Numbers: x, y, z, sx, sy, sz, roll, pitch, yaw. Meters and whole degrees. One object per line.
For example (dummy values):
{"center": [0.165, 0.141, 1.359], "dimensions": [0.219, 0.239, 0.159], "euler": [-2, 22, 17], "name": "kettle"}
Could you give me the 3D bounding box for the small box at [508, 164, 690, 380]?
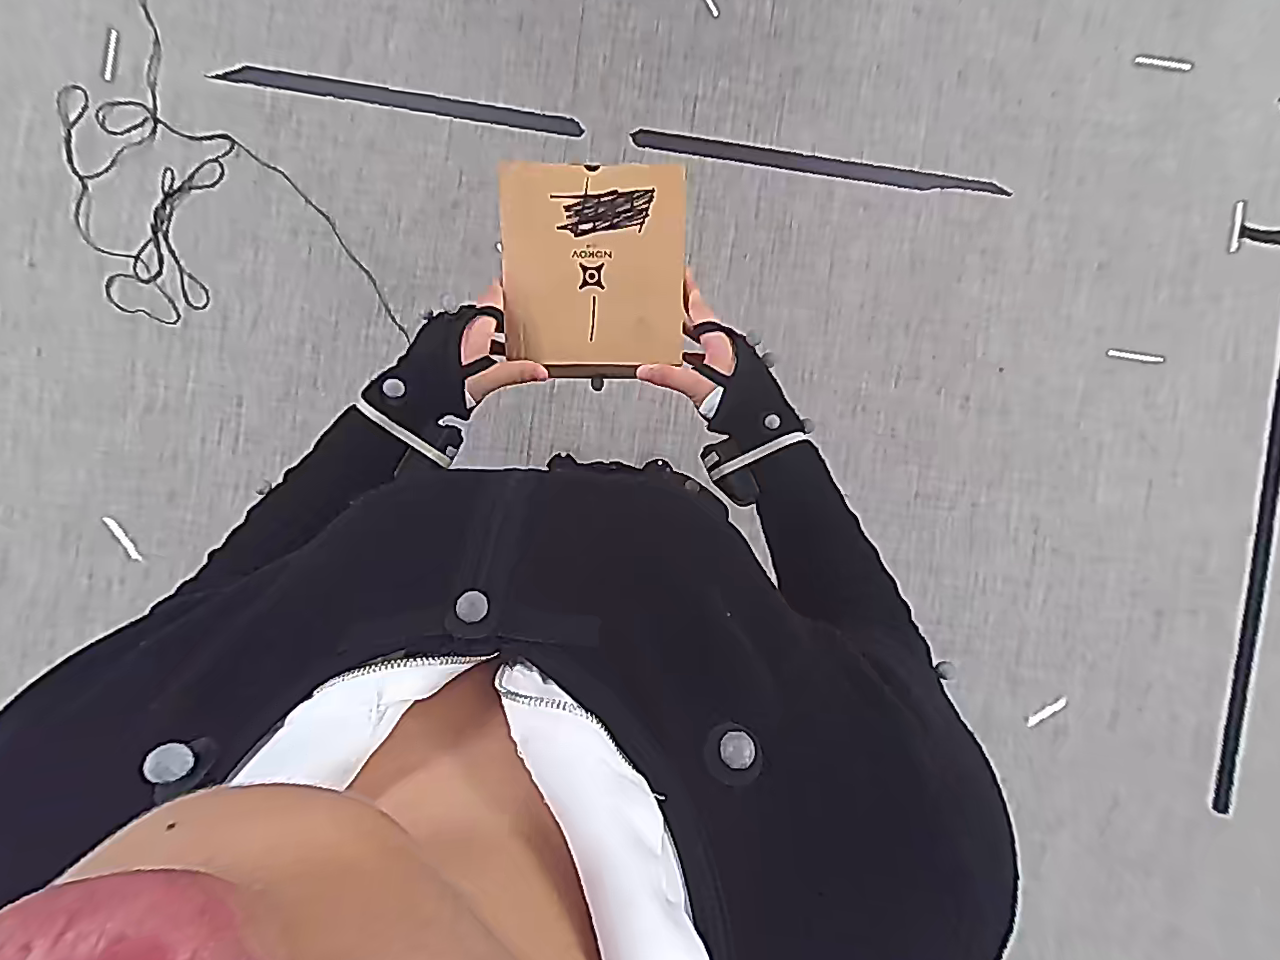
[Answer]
{"center": [-0.038, -0.203, 0.571], "dimensions": [0.168, 0.176, 0.179], "euler": [0, 96, 1], "name": "small box"}
